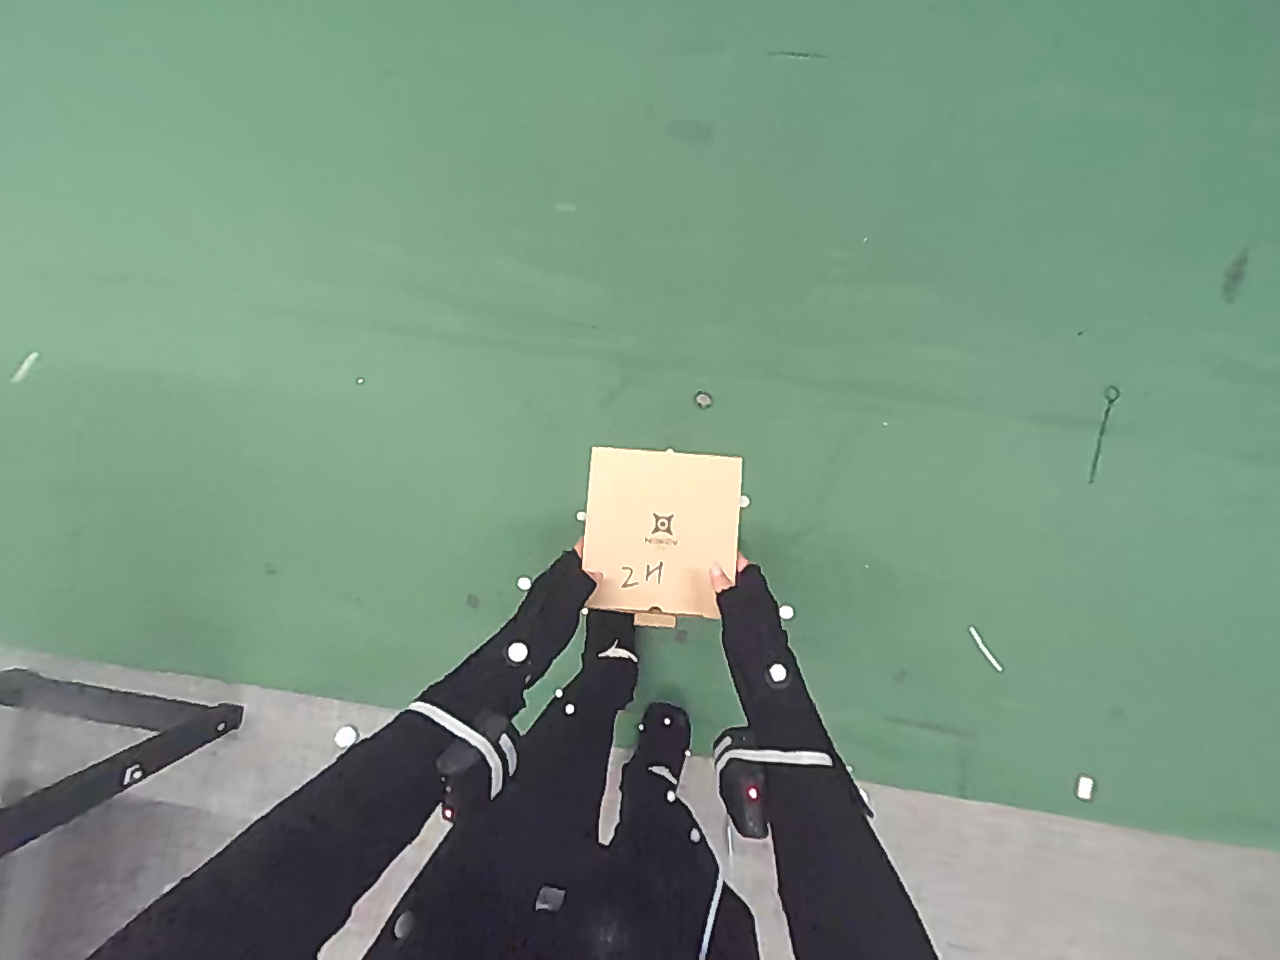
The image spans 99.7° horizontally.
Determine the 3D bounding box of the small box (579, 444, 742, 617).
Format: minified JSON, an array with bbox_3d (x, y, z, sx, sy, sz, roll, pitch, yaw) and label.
[{"bbox_3d":[0.024,0.060,0.660,0.168,0.176,0.179,4,85,2],"label":"small box"}]
